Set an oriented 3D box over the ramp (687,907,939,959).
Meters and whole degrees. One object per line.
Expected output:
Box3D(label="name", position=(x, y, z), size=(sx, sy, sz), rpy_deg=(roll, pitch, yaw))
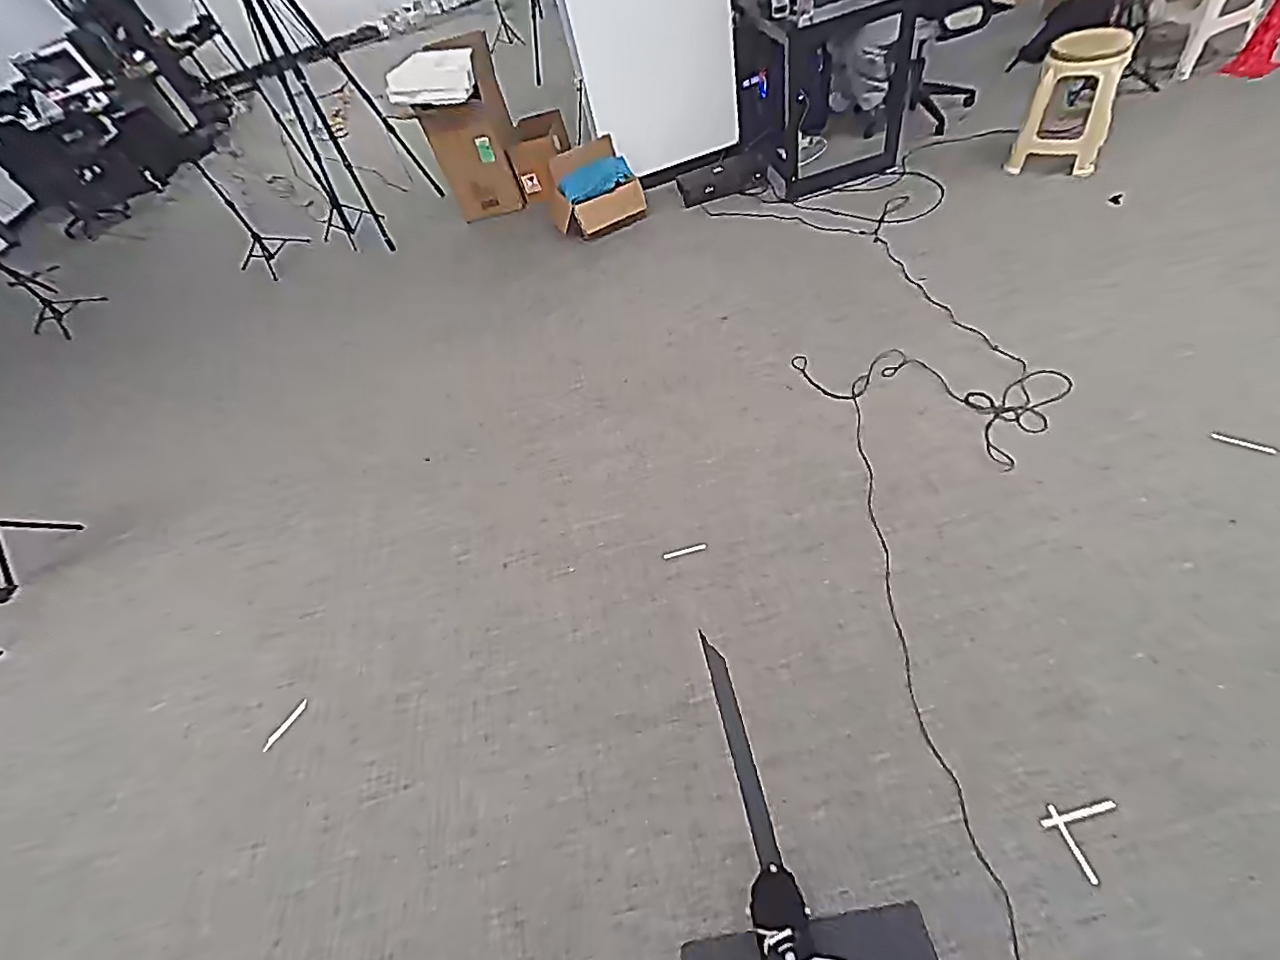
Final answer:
Box3D(label="ramp", position=(0.378, 1.239, 0.731), size=(0.509, 0.206, 0.991), rpy_deg=(-17, 49, 4))
